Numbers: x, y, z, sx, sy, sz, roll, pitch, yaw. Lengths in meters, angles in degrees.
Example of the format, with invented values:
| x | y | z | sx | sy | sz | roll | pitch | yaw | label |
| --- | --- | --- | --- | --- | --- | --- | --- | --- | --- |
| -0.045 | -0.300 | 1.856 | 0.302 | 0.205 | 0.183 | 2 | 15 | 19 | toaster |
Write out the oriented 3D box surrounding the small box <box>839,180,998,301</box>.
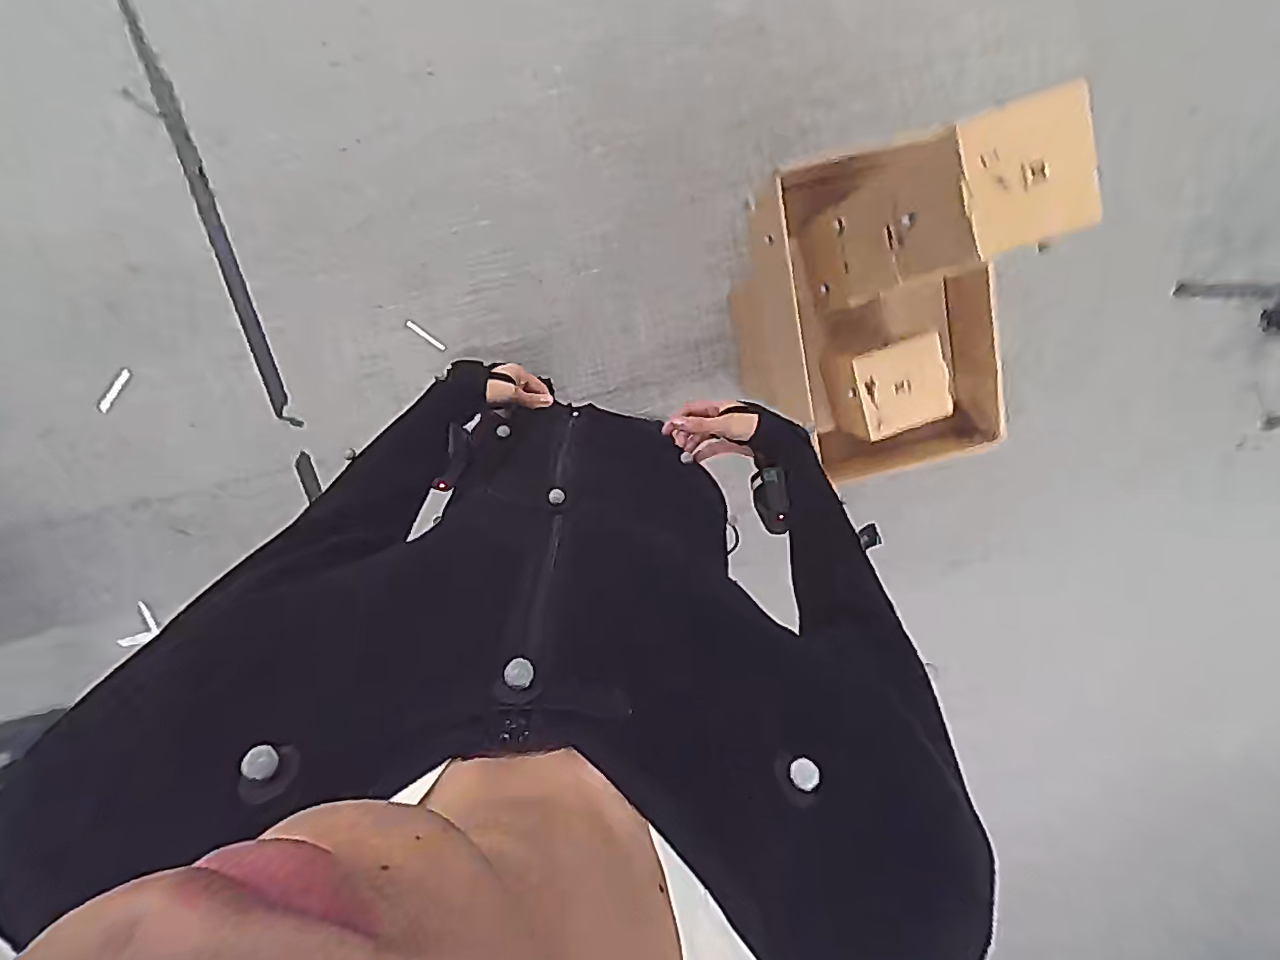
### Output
| x | y | z | sx | sy | sz | roll | pitch | yaw | label |
| --- | --- | --- | --- | --- | --- | --- | --- | --- | --- |
| 0.453 | -0.407 | 0.904 | 0.179 | 0.176 | 0.168 | -17 | 104 | -2 | small box |

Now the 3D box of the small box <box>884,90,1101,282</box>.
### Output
| x | y | z | sx | sy | sz | roll | pitch | yaw | label |
| --- | --- | --- | --- | --- | --- | --- | --- | --- | --- |
| 0.471 | -0.385 | 0.740 | 0.179 | 0.176 | 0.168 | -19 | 103 | -2 | small box |
